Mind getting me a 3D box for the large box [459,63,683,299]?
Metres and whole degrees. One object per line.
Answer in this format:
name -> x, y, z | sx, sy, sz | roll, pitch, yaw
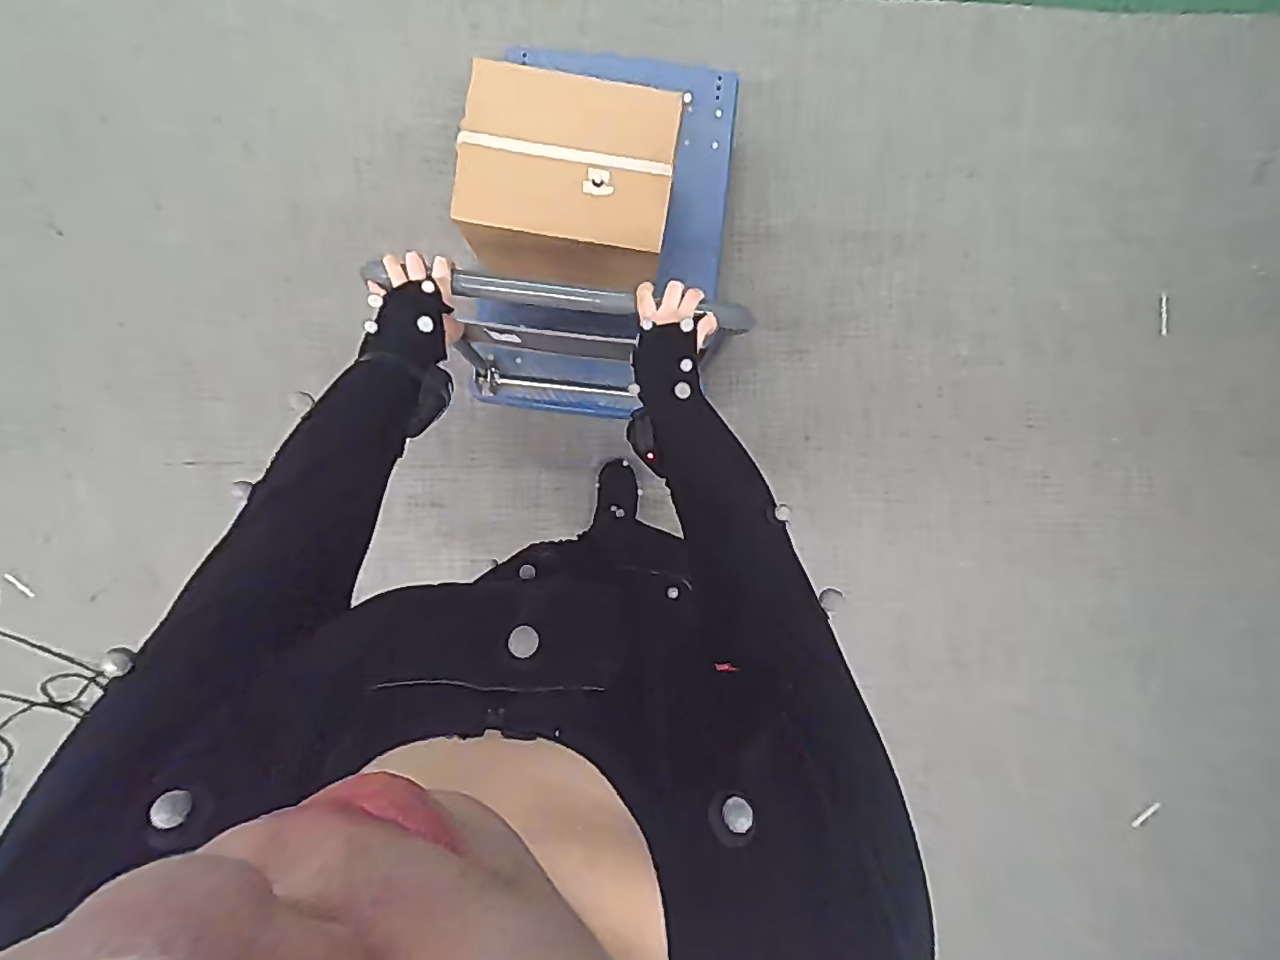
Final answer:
large box -> -0.139, -0.624, 1.190 | 0.408, 0.320, 0.320 | 8, 89, -2
